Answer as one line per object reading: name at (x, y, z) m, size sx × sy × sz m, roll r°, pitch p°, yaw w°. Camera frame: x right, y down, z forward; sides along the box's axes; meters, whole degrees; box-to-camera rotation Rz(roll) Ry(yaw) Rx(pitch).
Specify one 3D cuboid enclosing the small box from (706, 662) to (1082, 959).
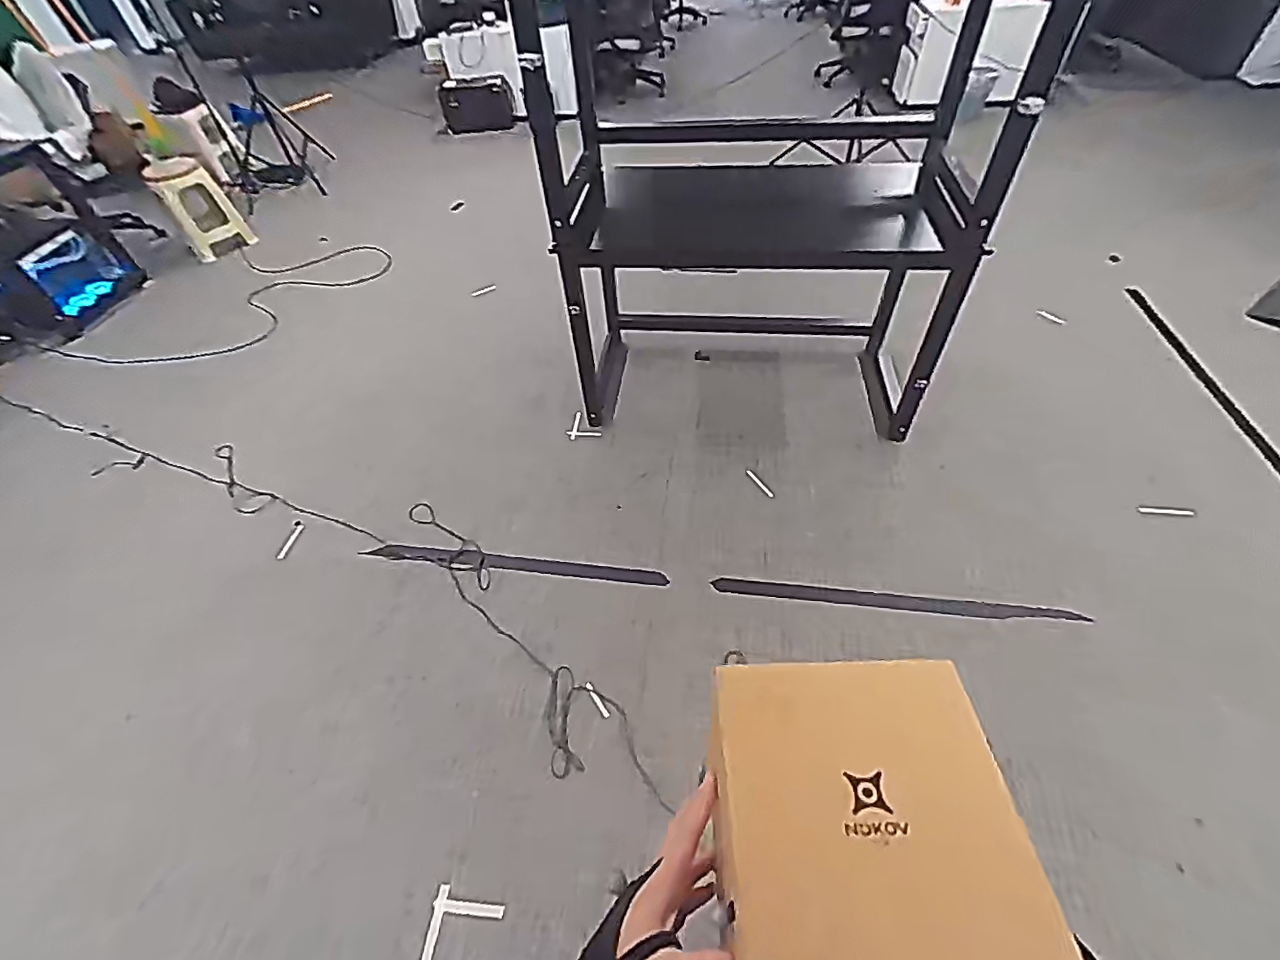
small box at (0.136, 0.247, 0.370) m, size 0.168 × 0.176 × 0.179 m, roll -3°, pitch 44°, yaw 2°
